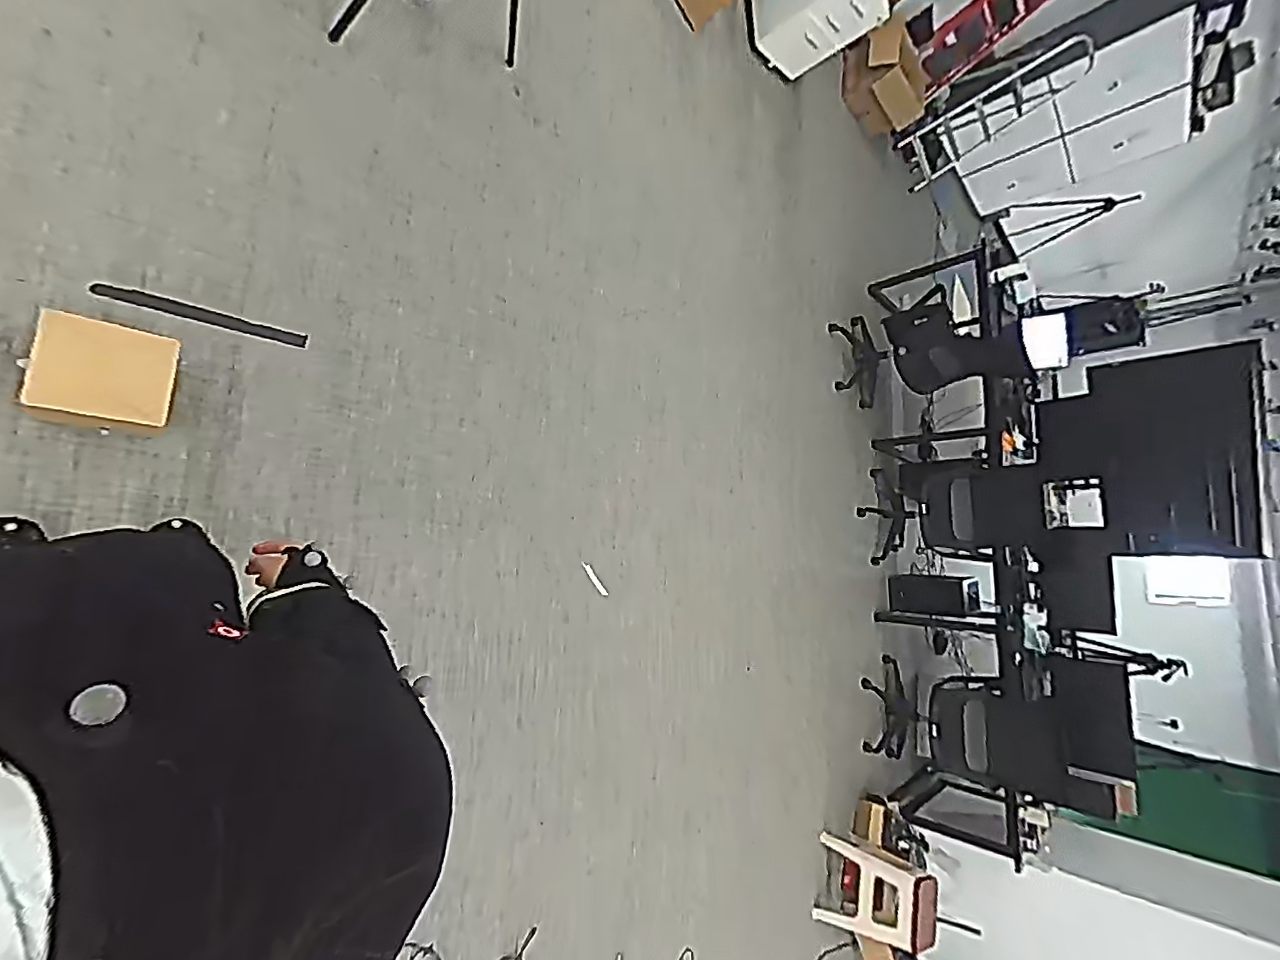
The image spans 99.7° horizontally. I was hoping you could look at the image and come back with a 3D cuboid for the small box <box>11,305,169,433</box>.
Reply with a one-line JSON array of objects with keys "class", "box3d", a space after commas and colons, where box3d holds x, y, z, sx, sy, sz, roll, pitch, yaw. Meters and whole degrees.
[{"class": "small box", "box3d": [-0.973, -0.188, 0.967, 0.179, 0.176, 0.168, 13, 77, -46]}]
